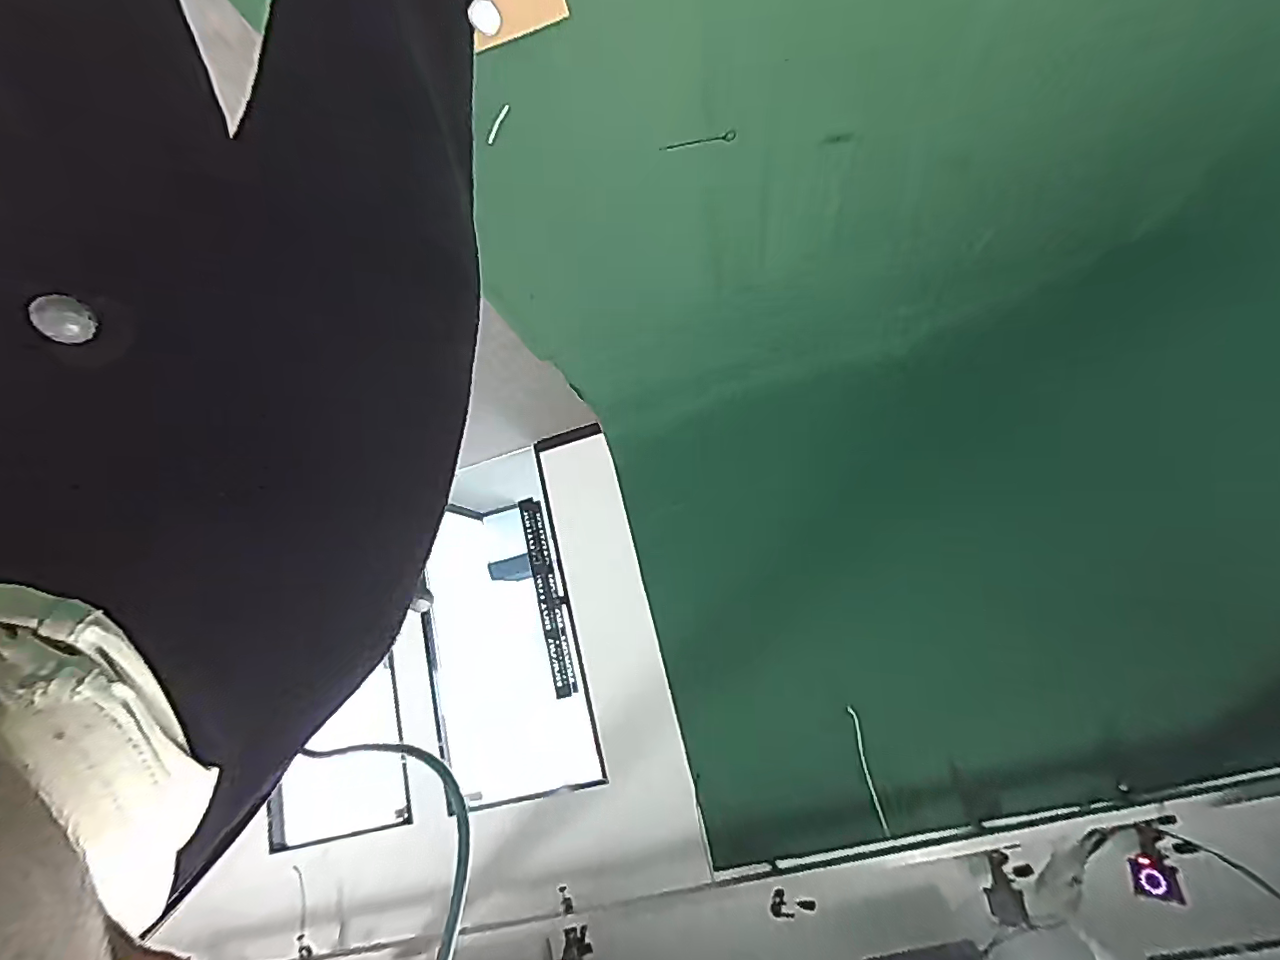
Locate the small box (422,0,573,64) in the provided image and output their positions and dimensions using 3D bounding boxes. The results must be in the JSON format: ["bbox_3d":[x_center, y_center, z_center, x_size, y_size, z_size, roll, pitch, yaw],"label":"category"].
[{"bbox_3d":[-0.203,-0.684,0.674,0.179,0.176,0.168,-15,165,6],"label":"small box"}]
